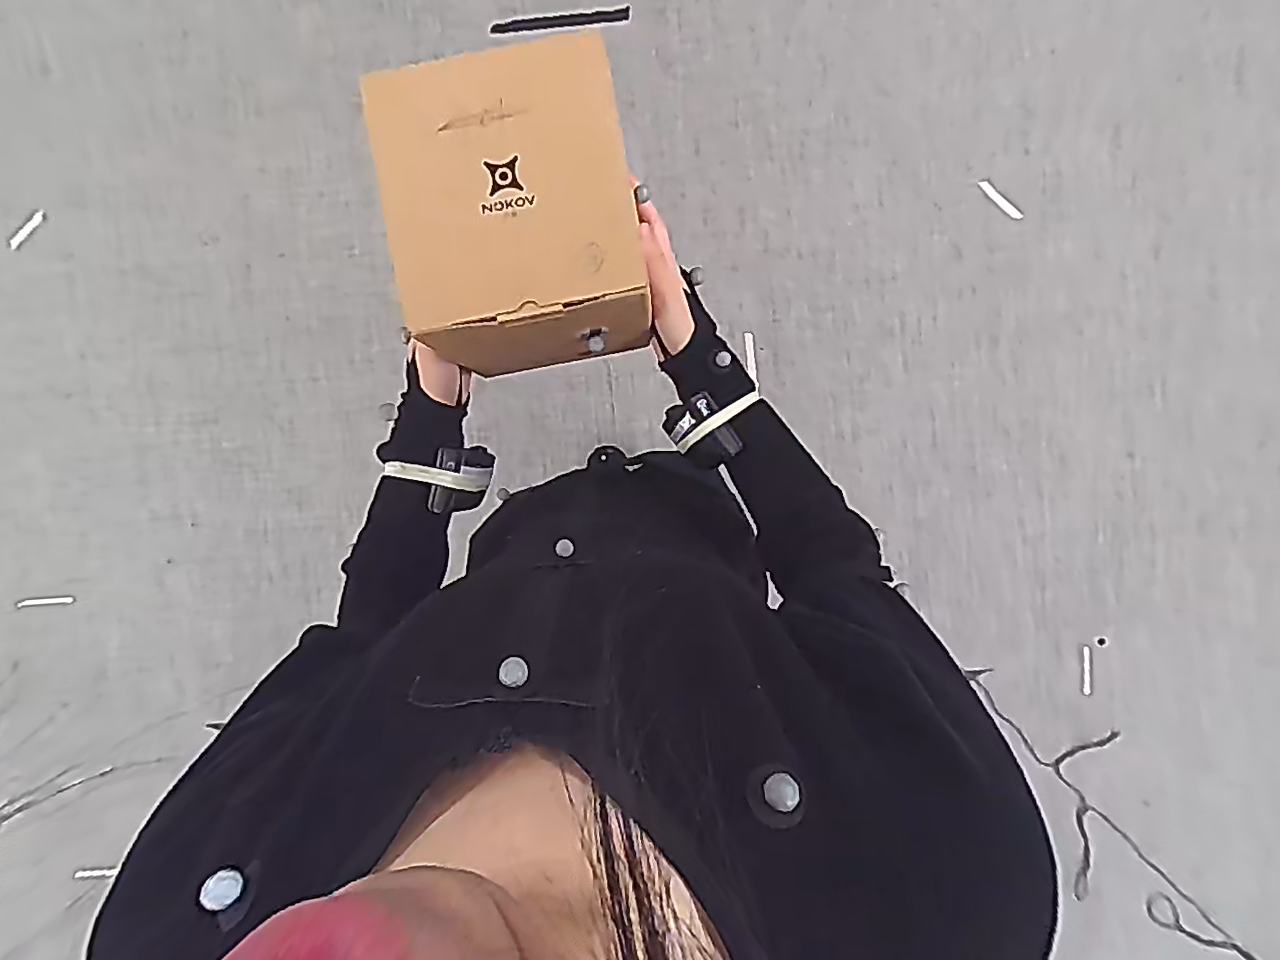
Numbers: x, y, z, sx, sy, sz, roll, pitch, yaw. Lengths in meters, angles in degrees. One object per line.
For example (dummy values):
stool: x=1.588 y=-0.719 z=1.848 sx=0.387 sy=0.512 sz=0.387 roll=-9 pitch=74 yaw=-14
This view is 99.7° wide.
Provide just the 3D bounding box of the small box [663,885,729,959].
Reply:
small box: x=0.151 y=1.263 z=1.487 sx=0.168 sy=0.176 sz=0.179 roll=-2 pitch=95 yaw=0

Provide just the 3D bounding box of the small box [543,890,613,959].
small box: x=-0.165 y=1.281 z=1.486 sx=0.168 sy=0.176 sz=0.179 roll=-5 pitch=93 yaw=0
